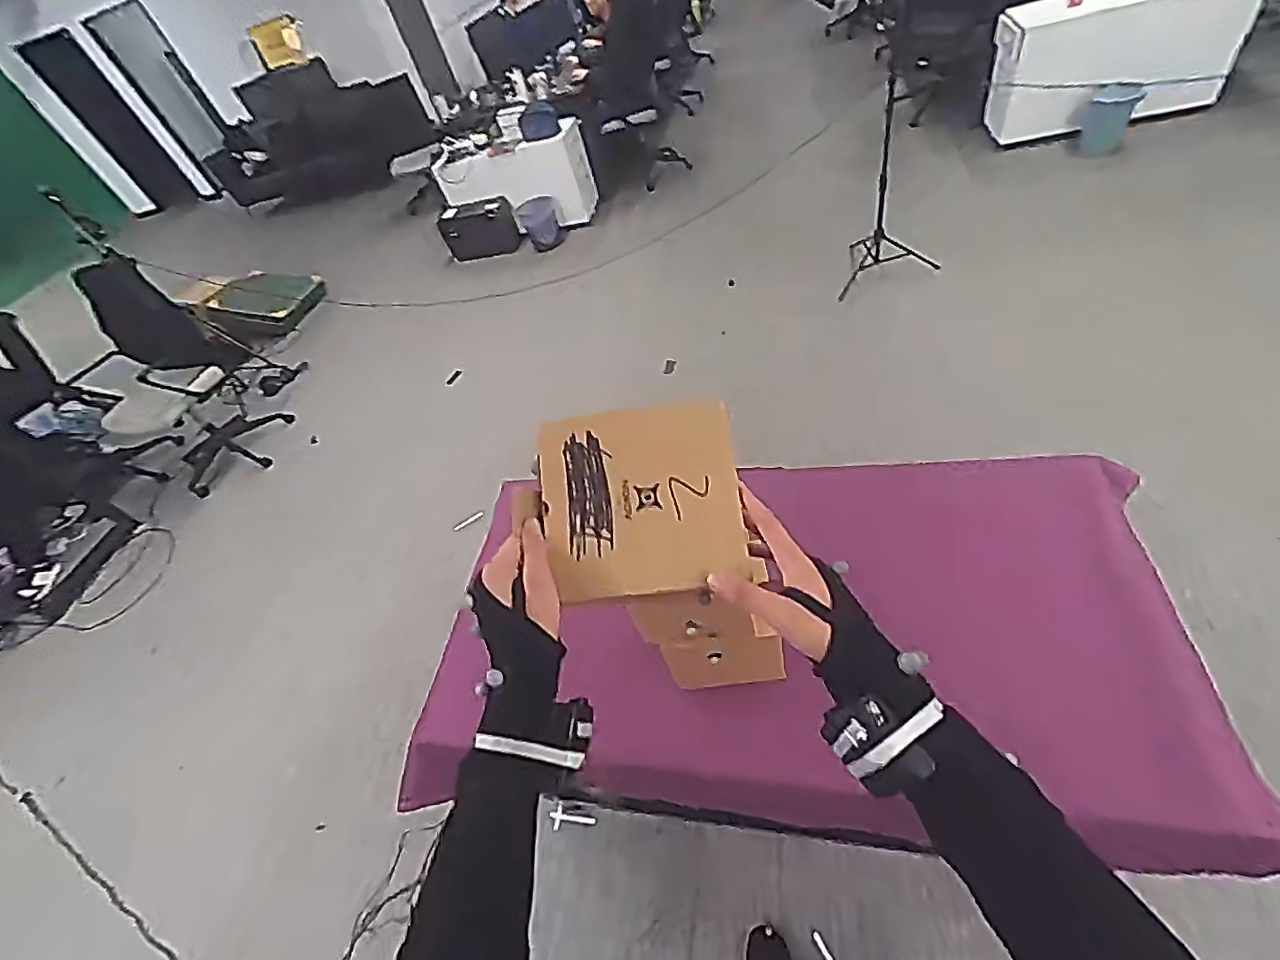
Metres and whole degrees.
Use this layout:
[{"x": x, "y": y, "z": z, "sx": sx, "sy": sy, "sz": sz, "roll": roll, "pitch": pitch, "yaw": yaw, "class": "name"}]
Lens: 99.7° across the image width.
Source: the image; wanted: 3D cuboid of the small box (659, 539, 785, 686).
[{"x": 0.131, "y": 0.222, "z": 0.881, "sx": 0.179, "sy": 0.176, "sz": 0.168, "roll": -10, "pitch": 48, "yaw": 9, "class": "small box"}]

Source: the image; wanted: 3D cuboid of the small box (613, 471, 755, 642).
[{"x": 0.070, "y": 0.113, "z": 0.771, "sx": 0.168, "sy": 0.176, "sz": 0.179, "roll": -7, "pitch": 49, "yaw": 14, "class": "small box"}]
